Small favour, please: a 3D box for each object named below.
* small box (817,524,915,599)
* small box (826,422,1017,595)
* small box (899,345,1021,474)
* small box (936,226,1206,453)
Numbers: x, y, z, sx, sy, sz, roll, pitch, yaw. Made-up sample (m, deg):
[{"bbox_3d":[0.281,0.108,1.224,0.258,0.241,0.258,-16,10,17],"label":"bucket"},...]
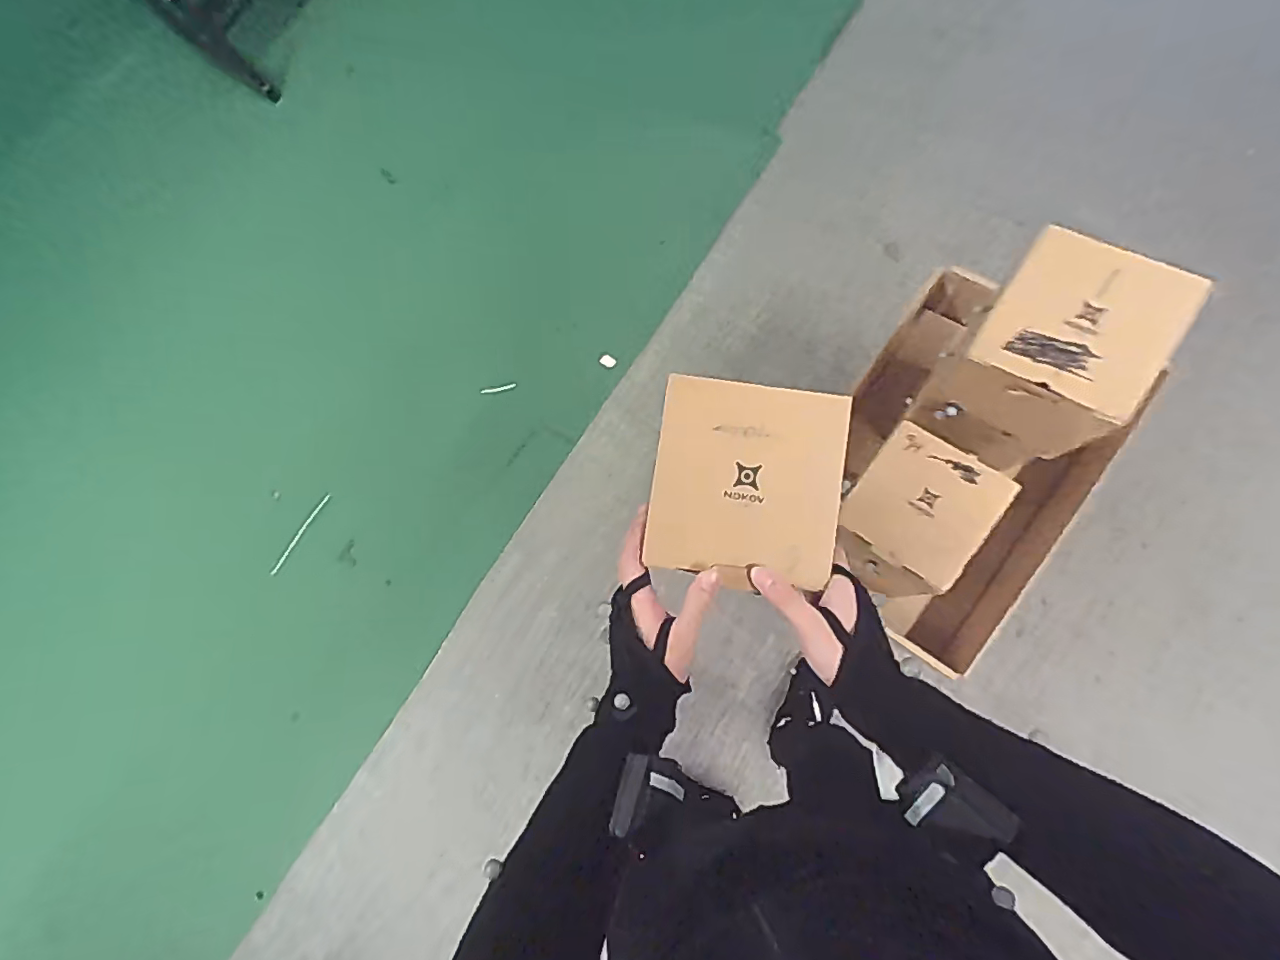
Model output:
[{"bbox_3d":[0.426,0.088,0.940,0.168,0.176,0.179,36,86,19],"label":"small box"},{"bbox_3d":[0.389,0.051,0.786,0.168,0.176,0.179,36,87,18],"label":"small box"},{"bbox_3d":[0.578,-0.113,0.957,0.168,0.176,0.179,34,90,18],"label":"small box"},{"bbox_3d":[0.483,-0.153,0.644,0.168,0.176,0.179,32,89,18],"label":"small box"}]
